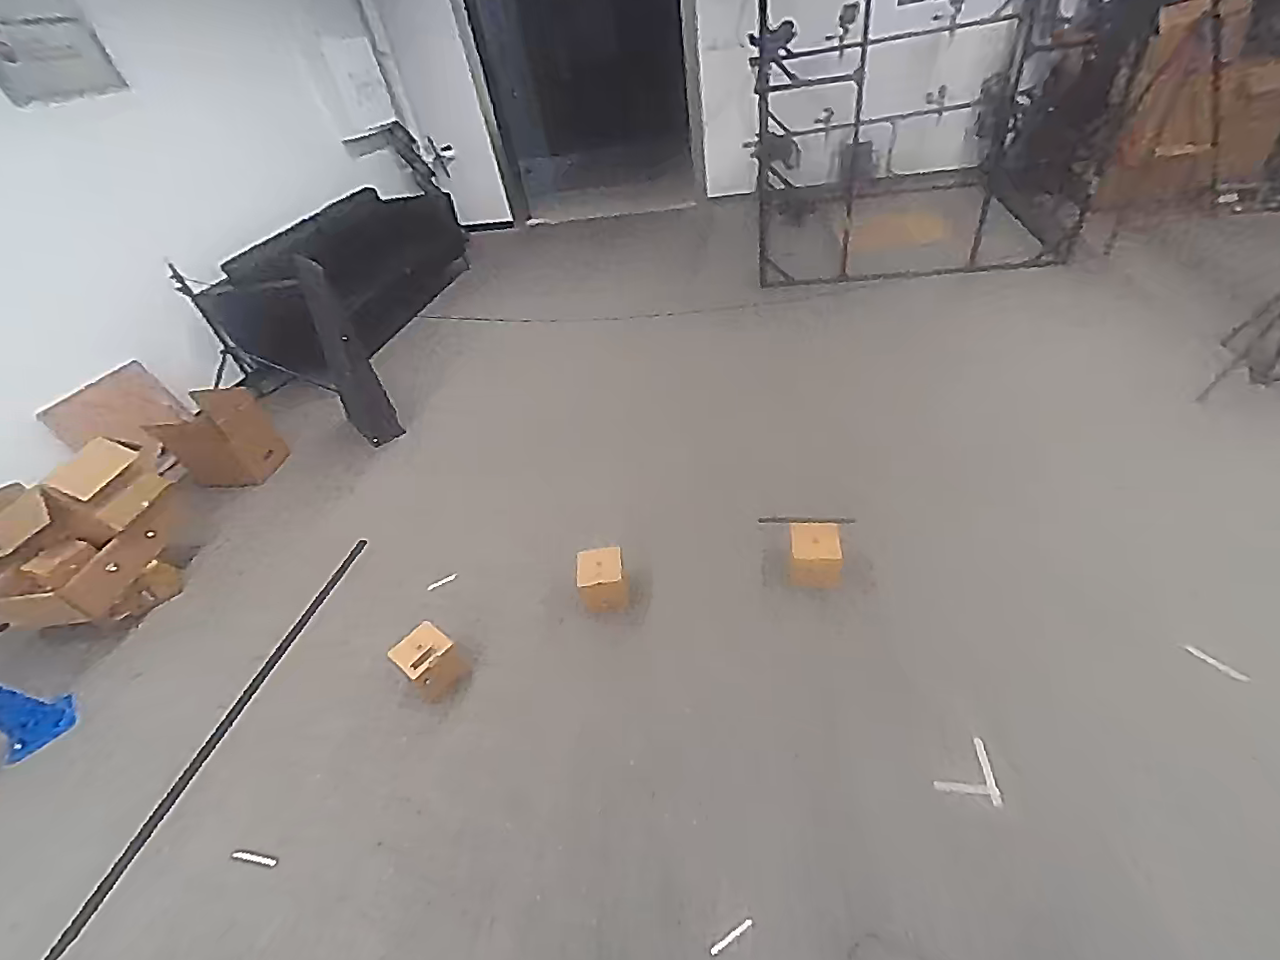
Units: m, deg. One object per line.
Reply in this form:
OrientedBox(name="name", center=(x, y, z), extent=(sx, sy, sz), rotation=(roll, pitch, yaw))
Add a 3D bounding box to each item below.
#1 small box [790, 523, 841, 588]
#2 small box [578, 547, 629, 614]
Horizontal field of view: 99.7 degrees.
OrientedBox(name="small box", center=(0.641, 0.279, 1.985), extent=(0.168, 0.176, 0.179), rotation=(-1, 40, 13))
OrientedBox(name="small box", center=(-0.136, 0.381, 2.050), extent=(0.168, 0.176, 0.179), rotation=(-9, 40, 3))
